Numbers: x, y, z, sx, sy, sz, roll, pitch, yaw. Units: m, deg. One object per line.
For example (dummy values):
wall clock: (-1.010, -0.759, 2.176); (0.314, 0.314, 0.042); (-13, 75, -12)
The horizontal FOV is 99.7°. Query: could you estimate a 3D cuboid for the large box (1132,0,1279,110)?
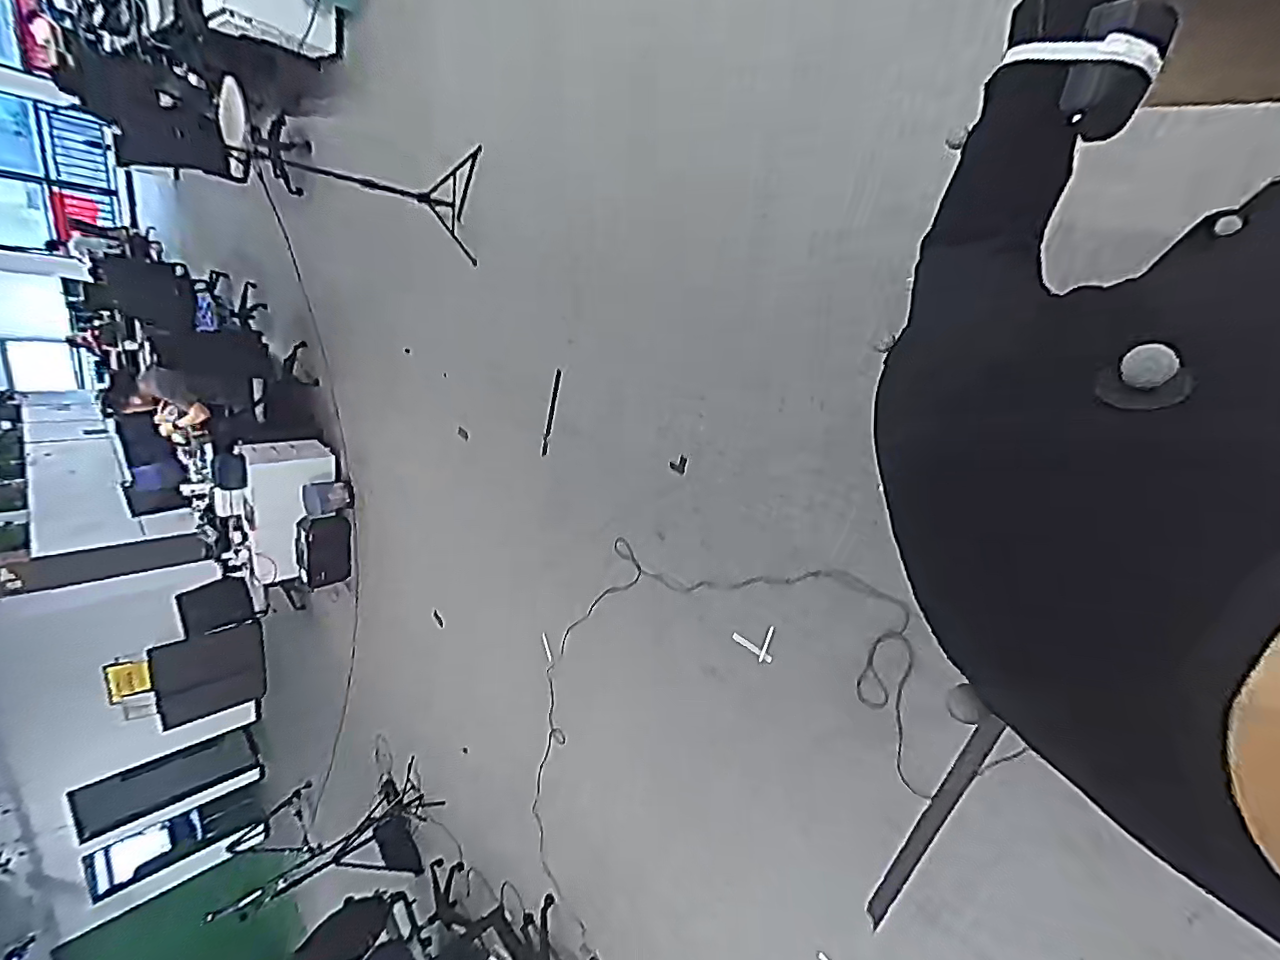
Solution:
large box: (0.574, -0.423, 0.280); (0.408, 0.320, 0.320); (23, 119, 34)
